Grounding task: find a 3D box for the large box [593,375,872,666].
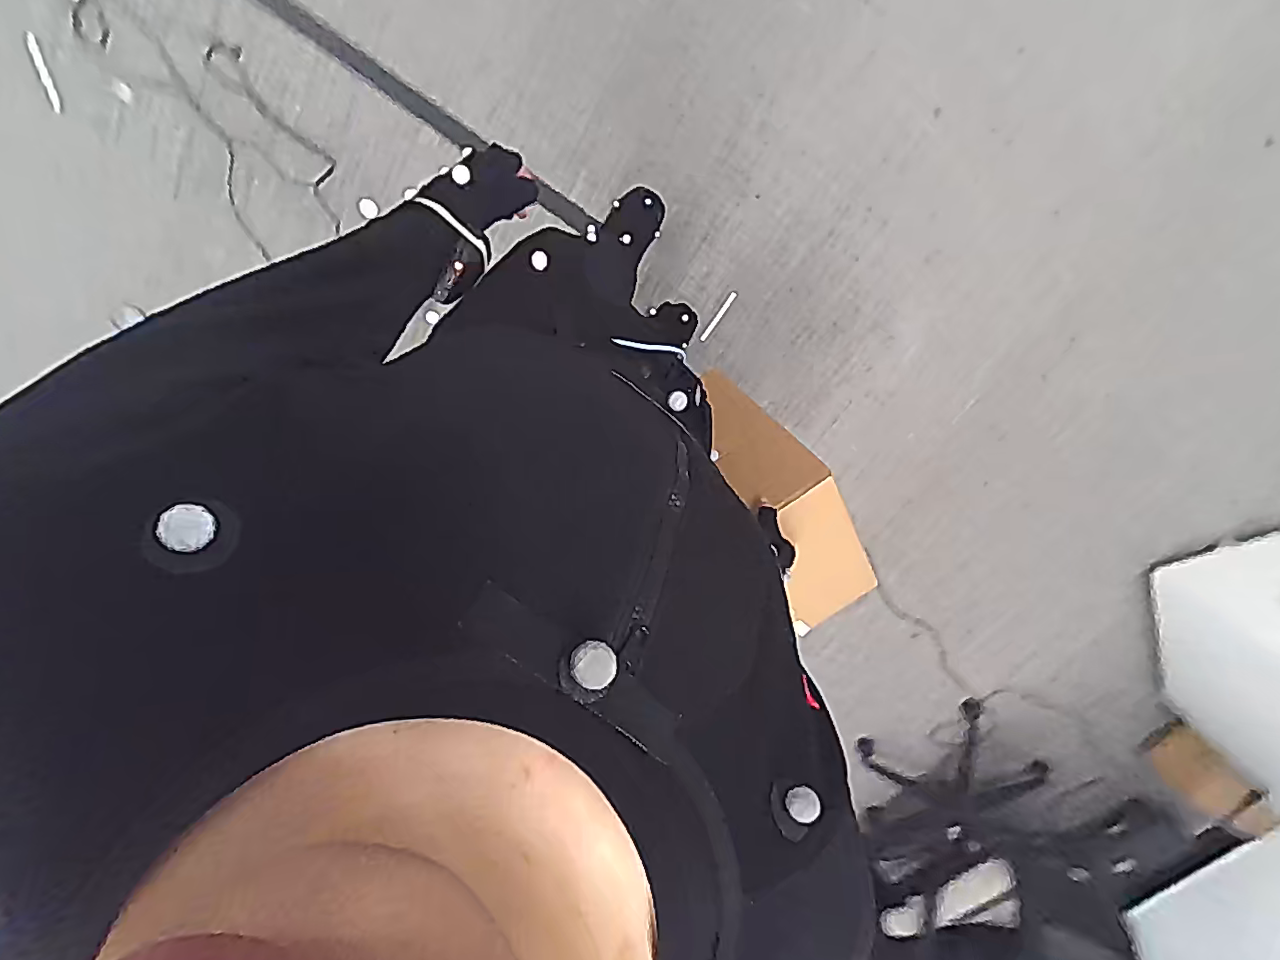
[{"bbox_3d":[0.162,0.066,1.044,0.320,0.408,0.320,-36,127,4],"label":"large box"}]
